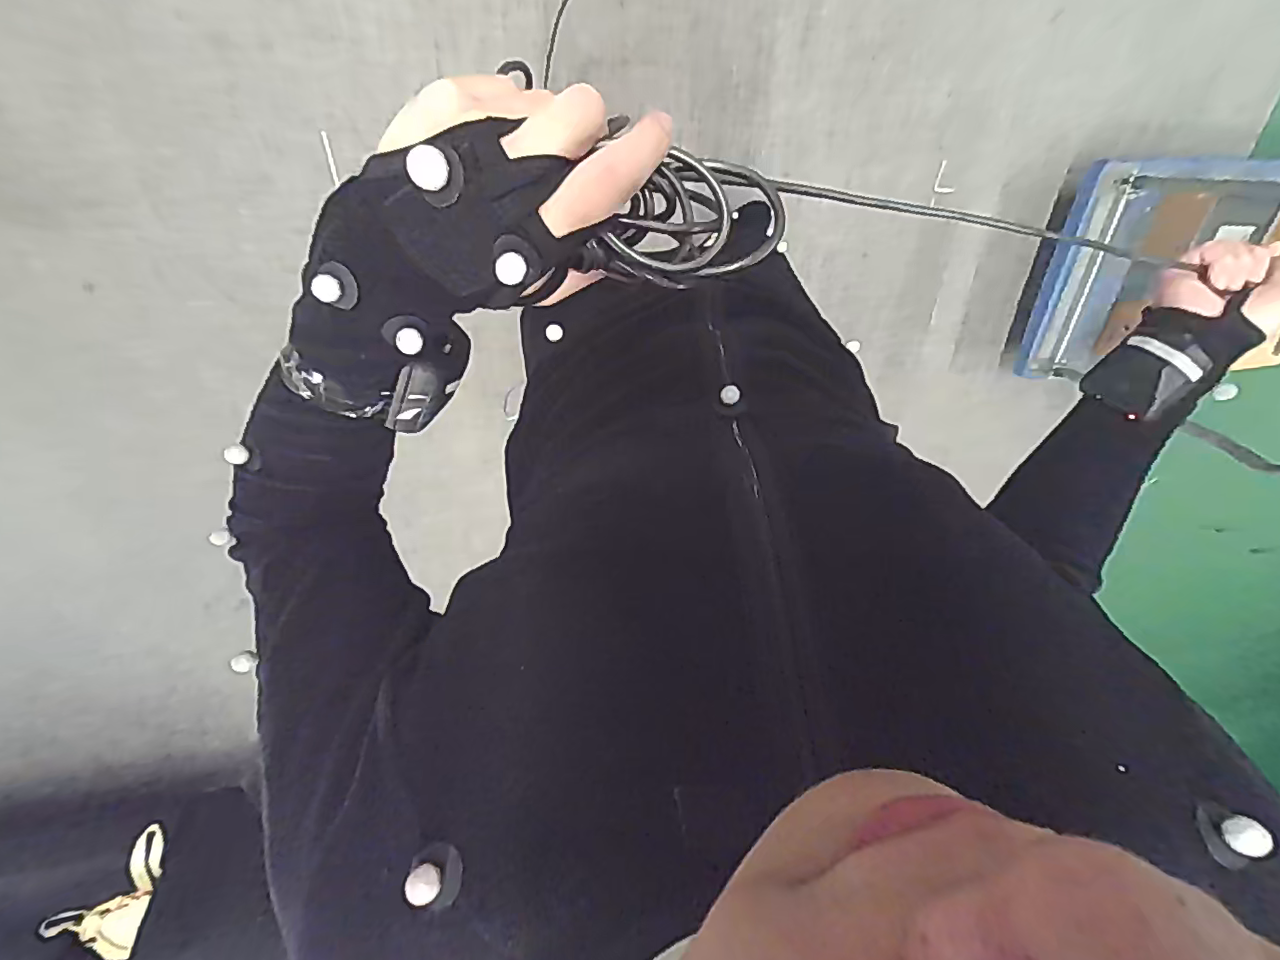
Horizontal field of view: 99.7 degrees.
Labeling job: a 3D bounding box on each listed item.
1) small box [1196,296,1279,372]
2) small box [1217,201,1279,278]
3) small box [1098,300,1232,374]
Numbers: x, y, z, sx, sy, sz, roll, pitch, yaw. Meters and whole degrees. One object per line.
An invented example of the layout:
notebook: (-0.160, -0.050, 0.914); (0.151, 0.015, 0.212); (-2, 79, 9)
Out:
small box: (1.734, -0.427, 1.564); (0.179, 0.176, 0.168); (-7, 121, -6)
small box: (1.719, -0.641, 1.432); (0.179, 0.176, 0.168); (-8, 122, -7)
small box: (1.467, -0.407, 1.525); (0.179, 0.176, 0.168); (-3, 121, -8)
